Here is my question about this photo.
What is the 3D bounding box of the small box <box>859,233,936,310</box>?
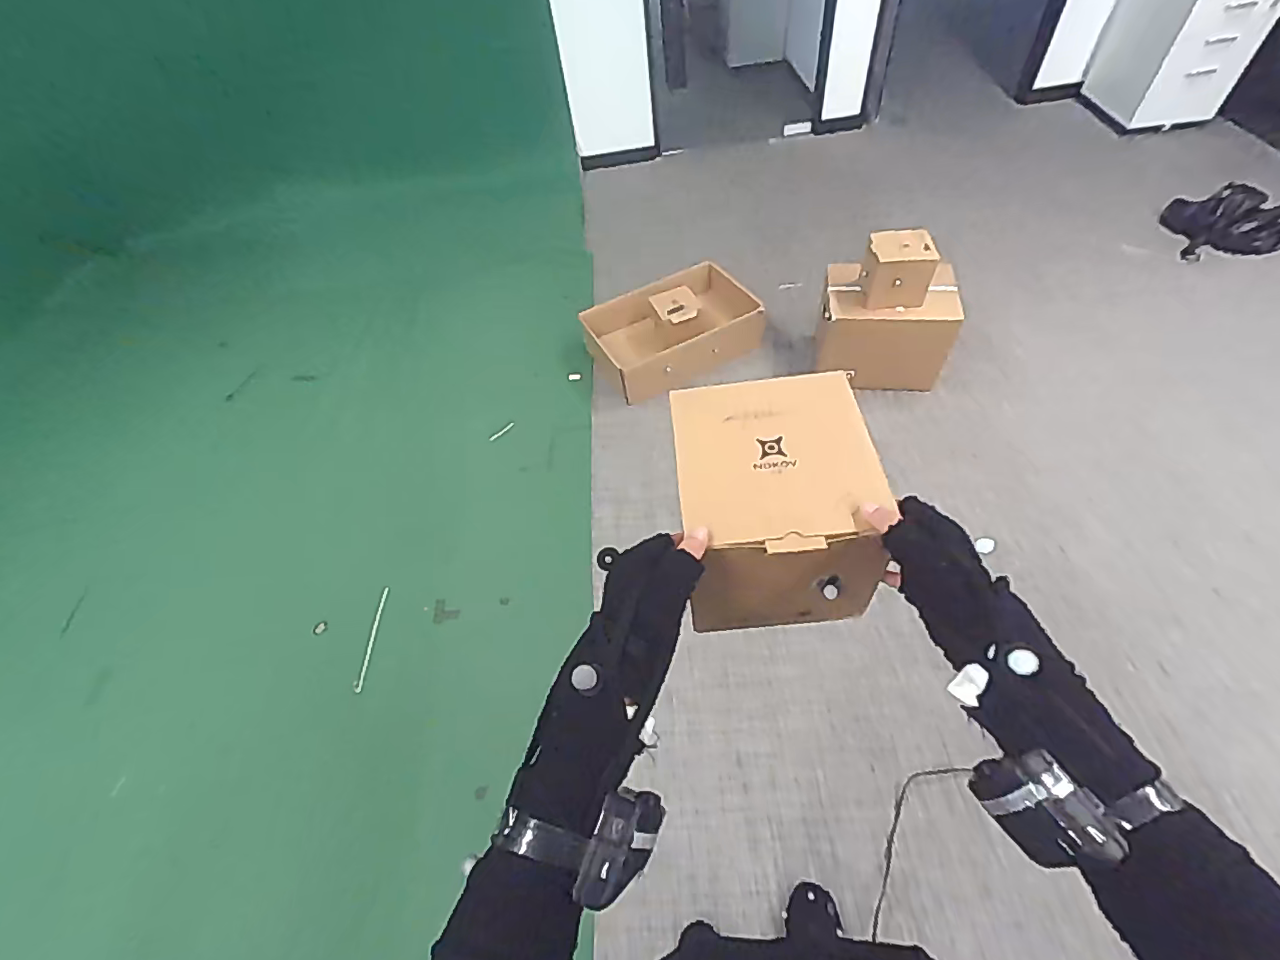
[{"bbox_3d":[0.809,-0.659,1.721,0.179,0.176,0.168,-1,54,8],"label":"small box"}]

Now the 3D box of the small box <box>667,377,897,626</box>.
[{"bbox_3d":[0.119,0.029,0.520,0.168,0.176,0.179,-6,51,3],"label":"small box"}]

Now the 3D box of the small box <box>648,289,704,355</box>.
[{"bbox_3d":[0.144,-0.608,2.111,0.168,0.176,0.179,-20,51,-6],"label":"small box"}]
